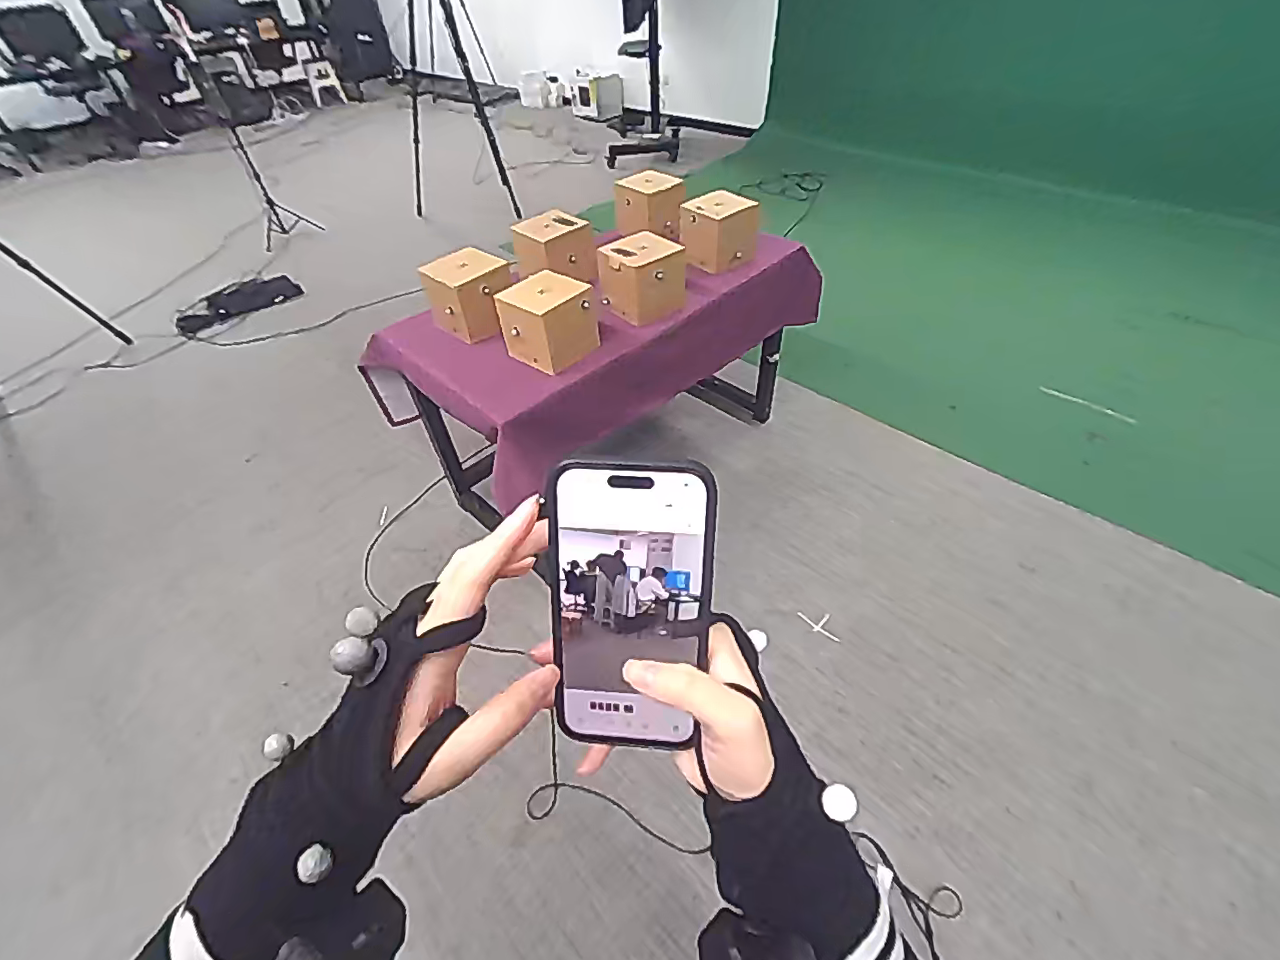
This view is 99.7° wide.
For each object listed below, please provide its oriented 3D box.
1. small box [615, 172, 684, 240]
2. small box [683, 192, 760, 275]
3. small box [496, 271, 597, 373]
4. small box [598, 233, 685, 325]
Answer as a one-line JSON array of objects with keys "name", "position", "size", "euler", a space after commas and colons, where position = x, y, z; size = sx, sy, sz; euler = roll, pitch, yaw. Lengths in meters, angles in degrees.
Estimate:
[{"name": "small box", "position": [0.032, -0.924, 1.841], "size": [0.168, 0.176, 0.179], "euler": [-34, 54, -26]}, {"name": "small box", "position": [0.243, -0.763, 1.674], "size": [0.179, 0.176, 0.168], "euler": [-31, 51, -24]}, {"name": "small box", "position": [-0.222, -0.390, 1.342], "size": [0.168, 0.176, 0.179], "euler": [28, 53, 28]}, {"name": "small box", "position": [0.008, -0.550, 1.482], "size": [0.179, 0.176, 0.168], "euler": [-31, 52, -25]}]
